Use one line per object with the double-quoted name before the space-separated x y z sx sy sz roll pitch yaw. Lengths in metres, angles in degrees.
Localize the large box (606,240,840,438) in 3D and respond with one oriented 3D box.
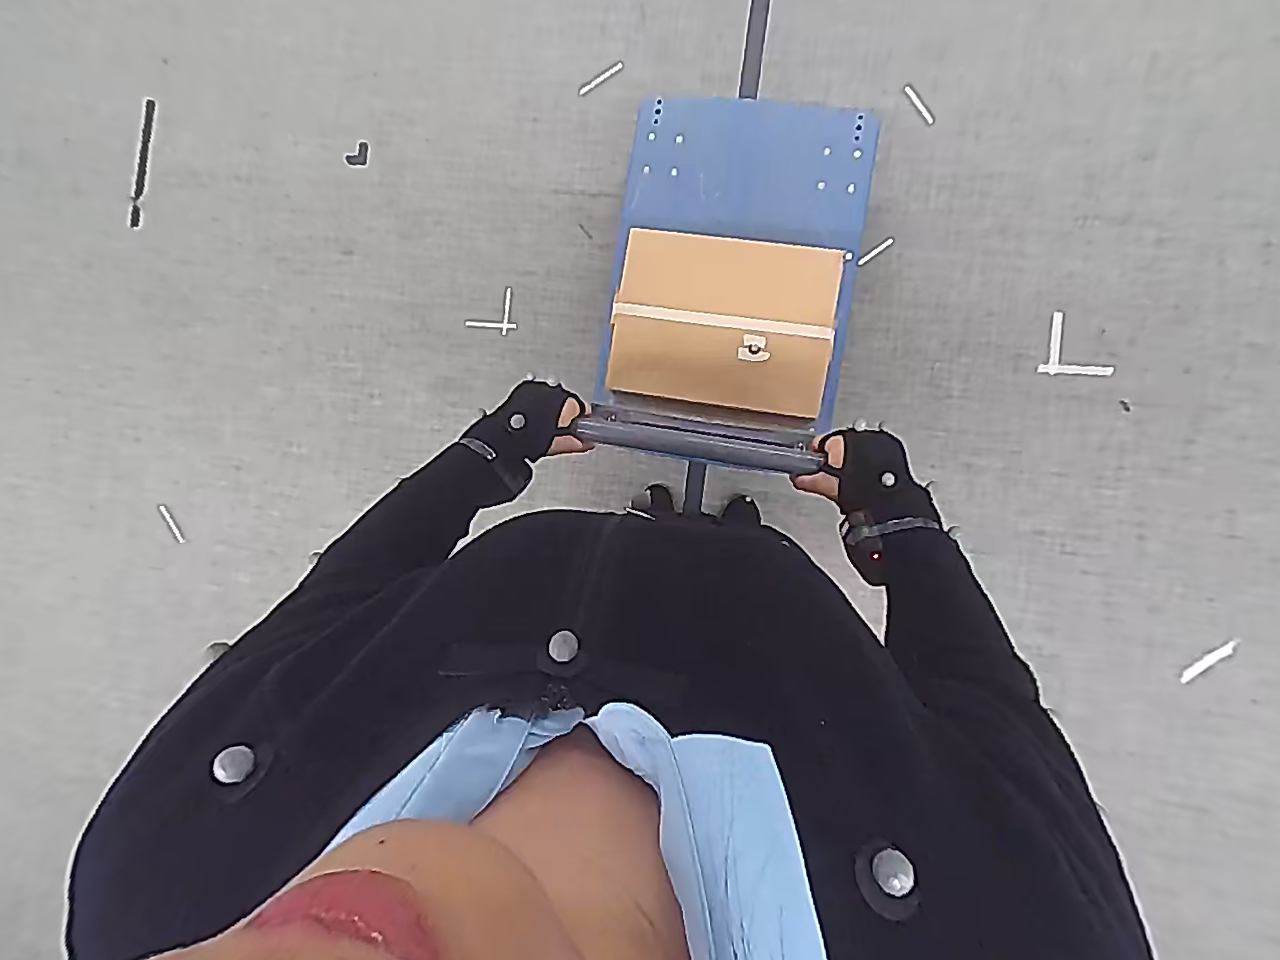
"large box" 0.164 -0.278 1.155 0.408 0.320 0.320 9 91 6
